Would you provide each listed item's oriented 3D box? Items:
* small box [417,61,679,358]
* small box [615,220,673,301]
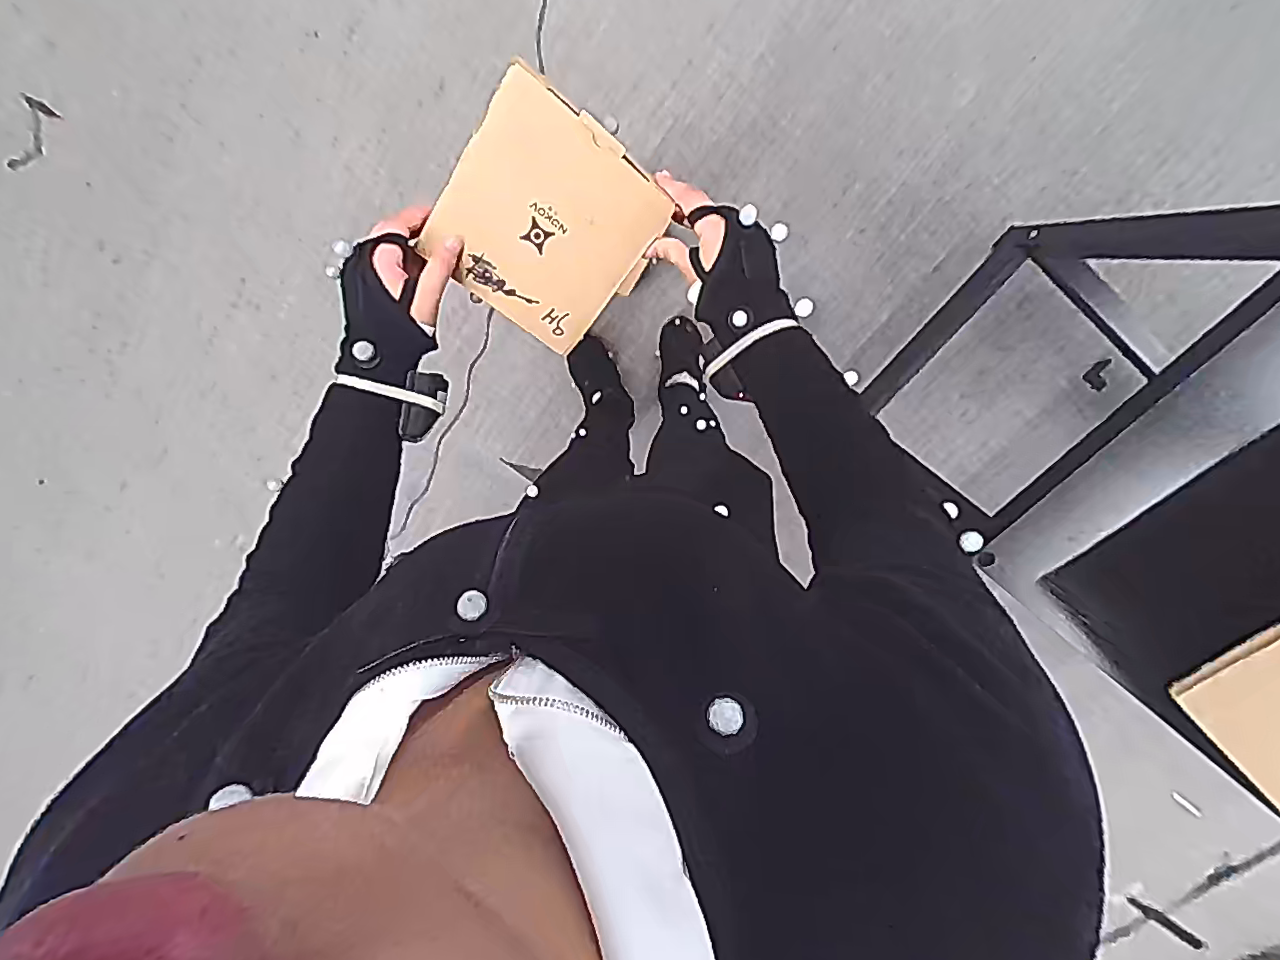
[{"bbox_3d":[-0.085,-0.260,0.536,0.168,0.176,0.179,34,115,-20],"label":"small box"},{"bbox_3d":[-0.049,-0.473,1.056,0.168,0.176,0.179,29,108,-10],"label":"small box"}]
